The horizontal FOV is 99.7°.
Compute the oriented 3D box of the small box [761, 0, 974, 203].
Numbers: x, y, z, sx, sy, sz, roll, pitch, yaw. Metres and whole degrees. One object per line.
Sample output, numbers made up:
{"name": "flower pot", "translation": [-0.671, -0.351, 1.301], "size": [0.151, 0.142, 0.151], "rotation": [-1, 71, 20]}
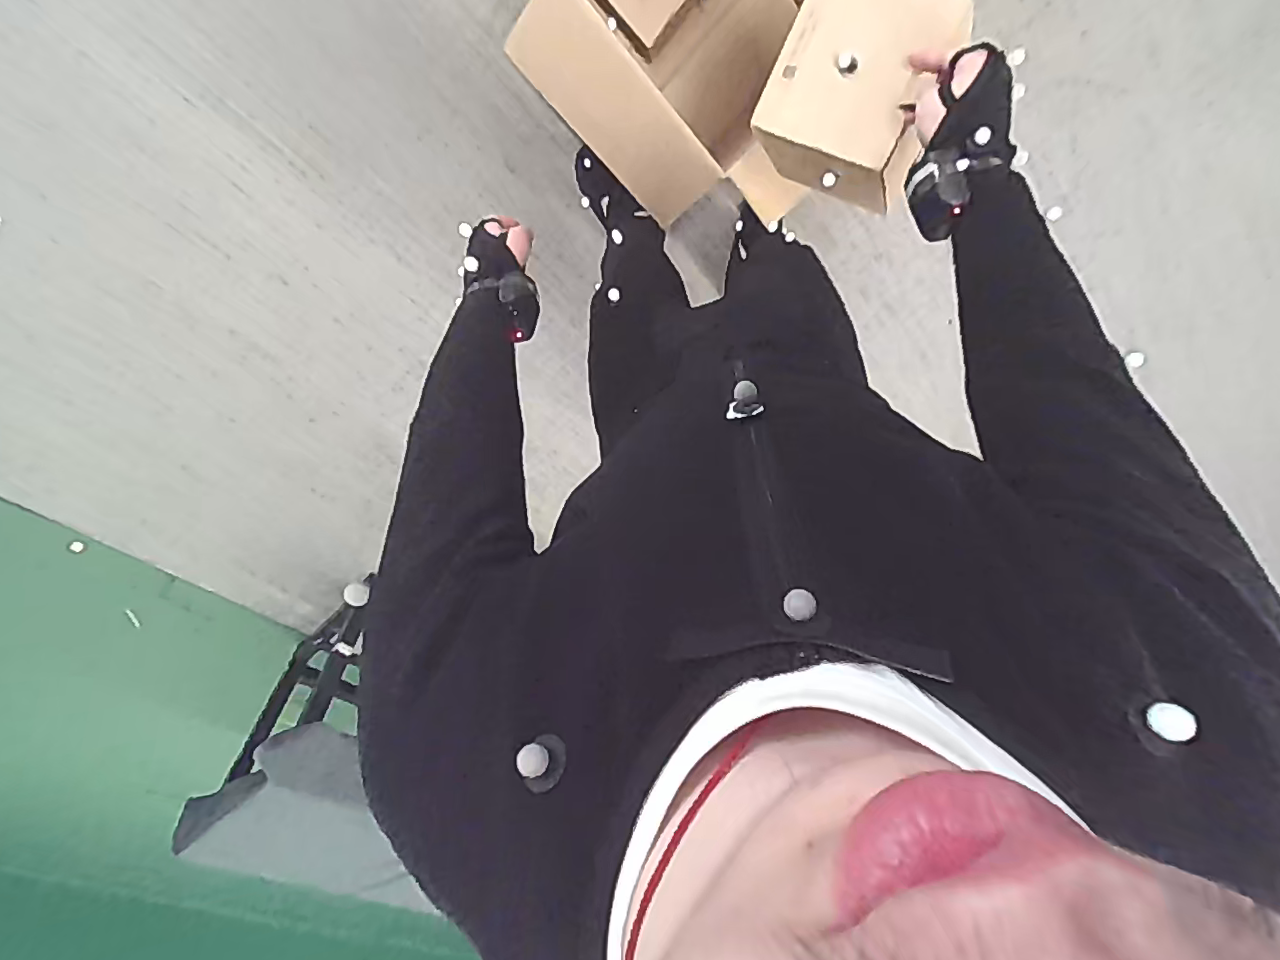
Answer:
{"name": "small box", "translation": [0.265, -0.463, 0.649], "size": [0.176, 0.179, 0.168], "rotation": [30, 114, 18]}
